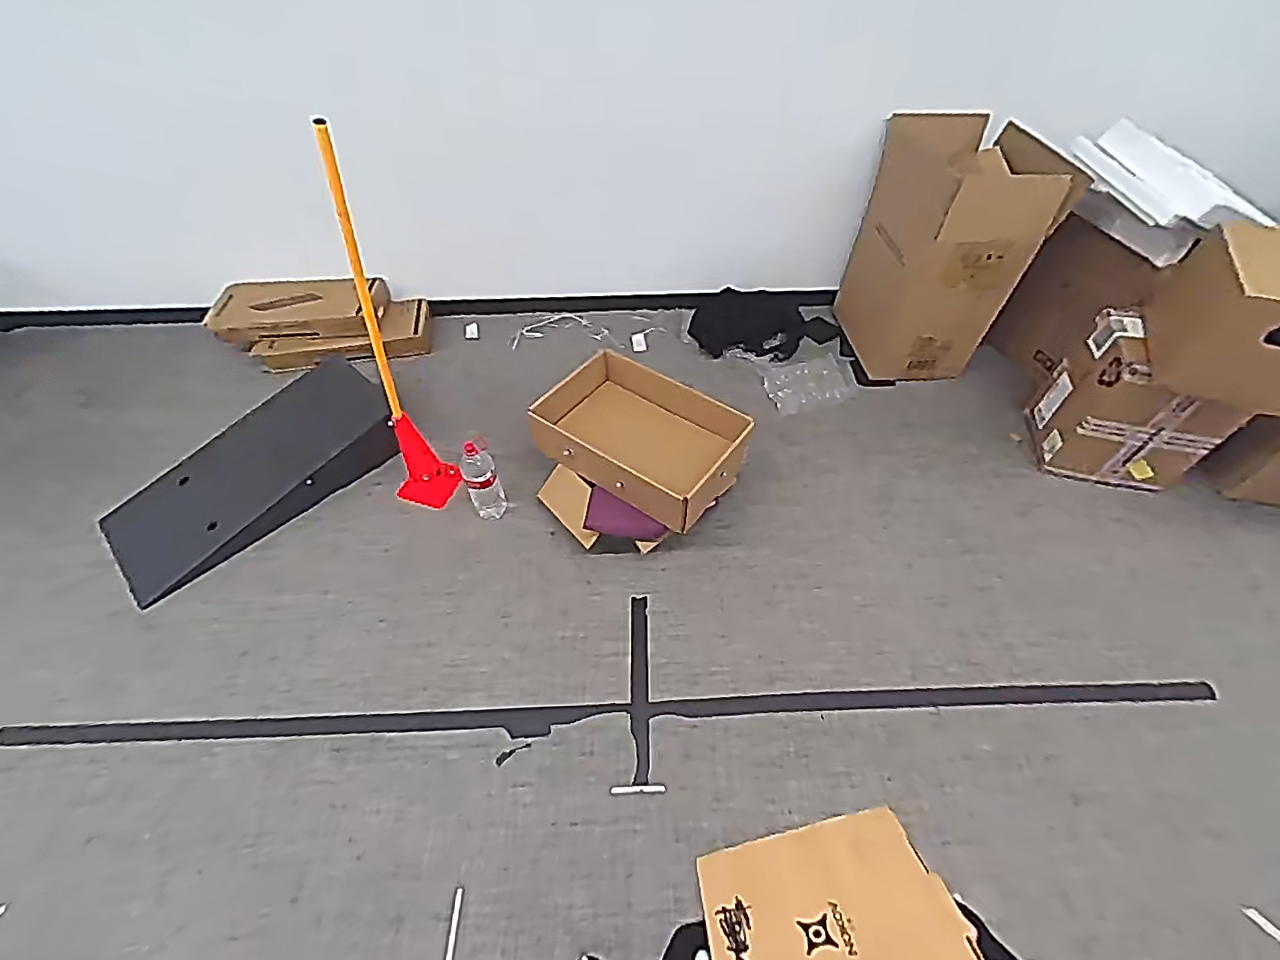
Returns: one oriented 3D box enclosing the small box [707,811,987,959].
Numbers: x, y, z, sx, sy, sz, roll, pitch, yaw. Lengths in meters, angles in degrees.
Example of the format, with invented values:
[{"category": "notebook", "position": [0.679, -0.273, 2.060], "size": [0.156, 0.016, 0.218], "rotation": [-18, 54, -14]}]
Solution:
[{"category": "small box", "position": [0.164, 0.406, 0.416], "size": [0.179, 0.176, 0.168], "rotation": [-15, 14, 1]}]
